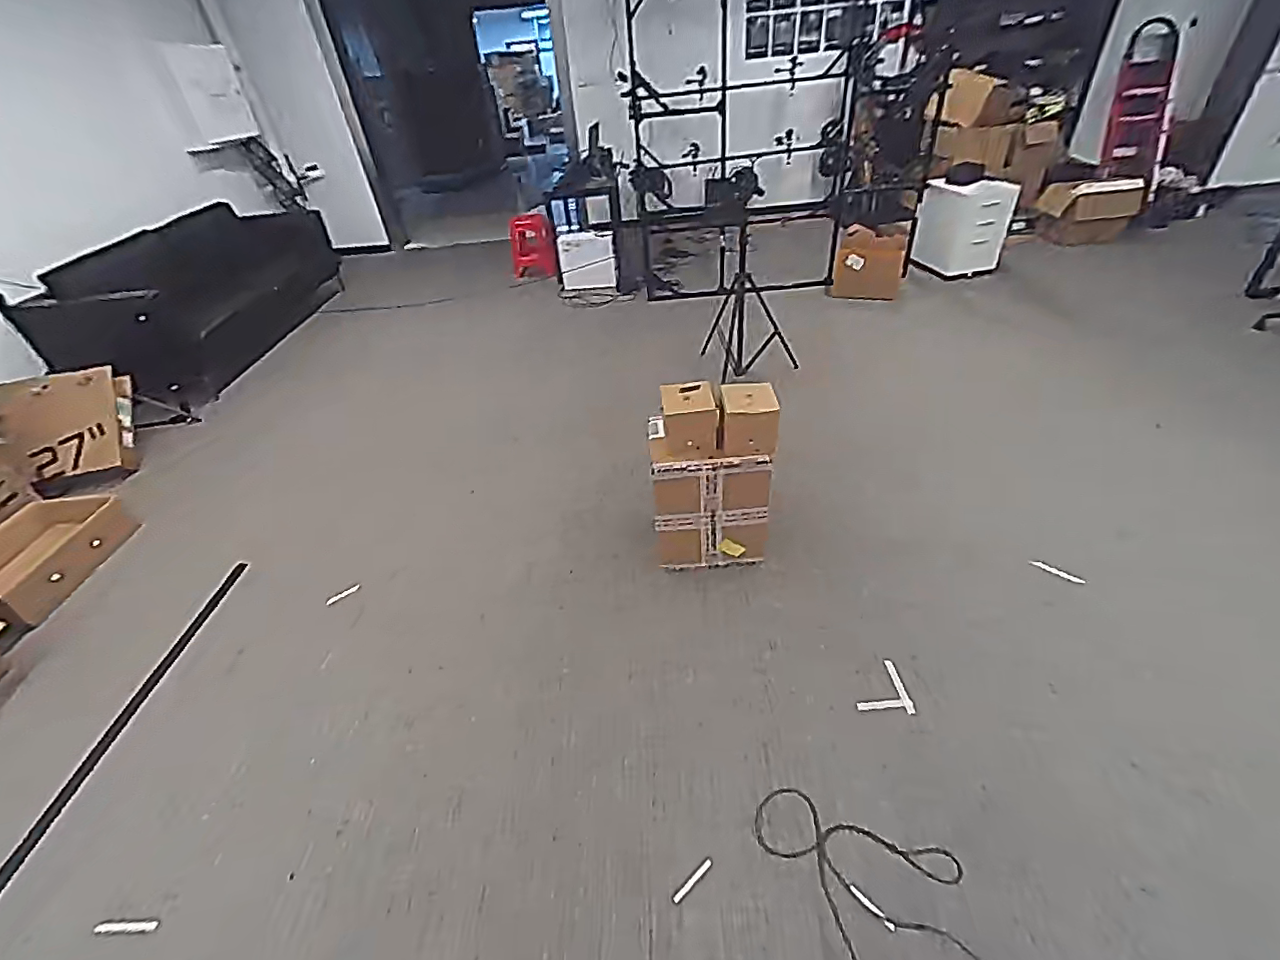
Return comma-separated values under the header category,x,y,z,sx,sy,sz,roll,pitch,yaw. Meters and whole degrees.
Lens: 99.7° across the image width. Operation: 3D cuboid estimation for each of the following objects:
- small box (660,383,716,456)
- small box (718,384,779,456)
category,x,y,z,sx,sy,sz,roll,pitch,yaw
small box,0.159,-0.202,1.803,0.168,0.176,0.179,-7,41,1
small box,0.350,-0.197,1.773,0.168,0.176,0.179,-3,40,2
